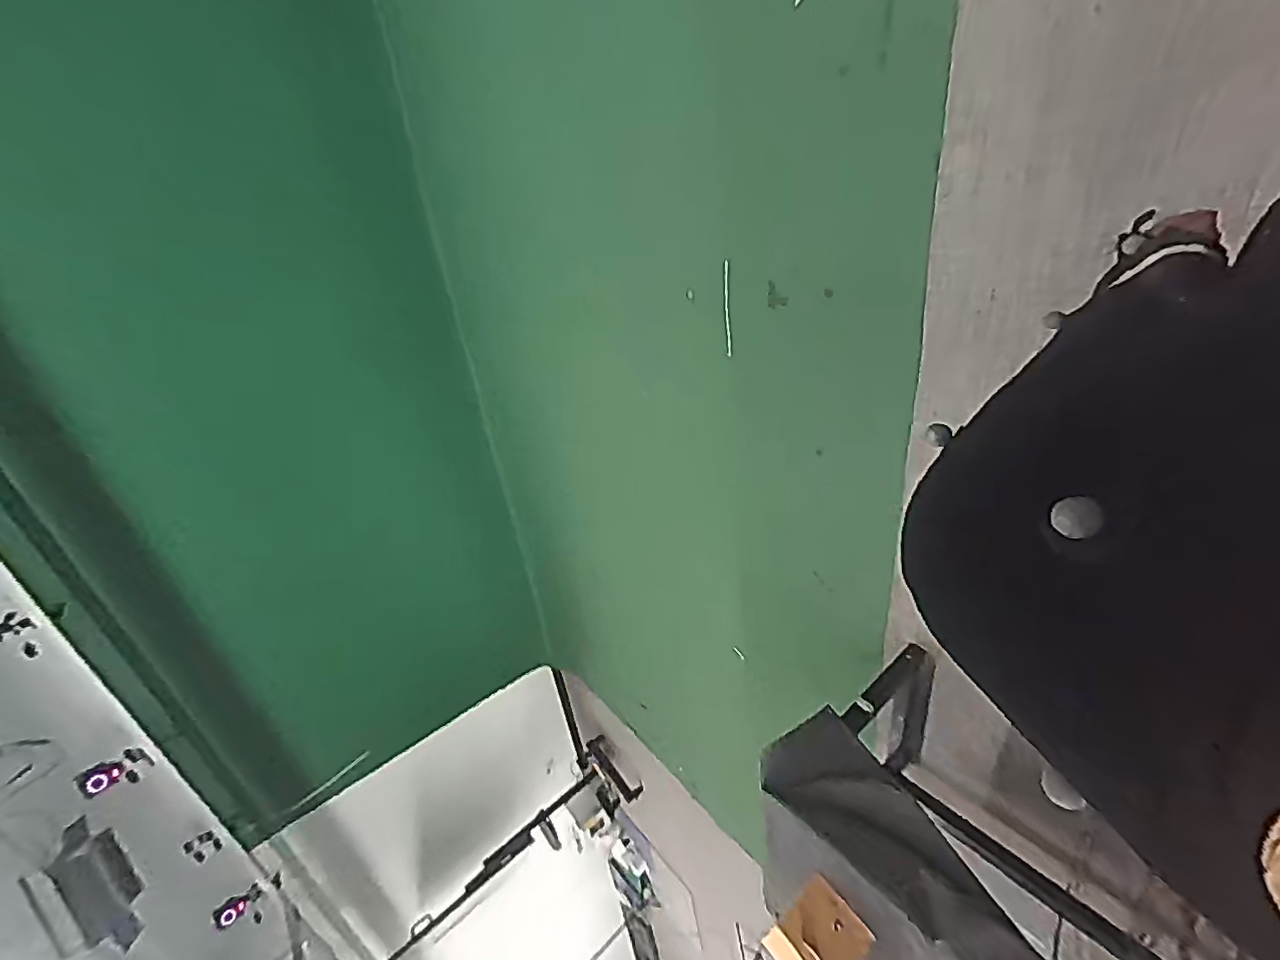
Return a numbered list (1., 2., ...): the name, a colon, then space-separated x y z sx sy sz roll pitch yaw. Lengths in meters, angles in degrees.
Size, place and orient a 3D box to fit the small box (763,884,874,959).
1. small box: 0.422 1.116 1.284 0.168 0.176 0.179 39 141 35
